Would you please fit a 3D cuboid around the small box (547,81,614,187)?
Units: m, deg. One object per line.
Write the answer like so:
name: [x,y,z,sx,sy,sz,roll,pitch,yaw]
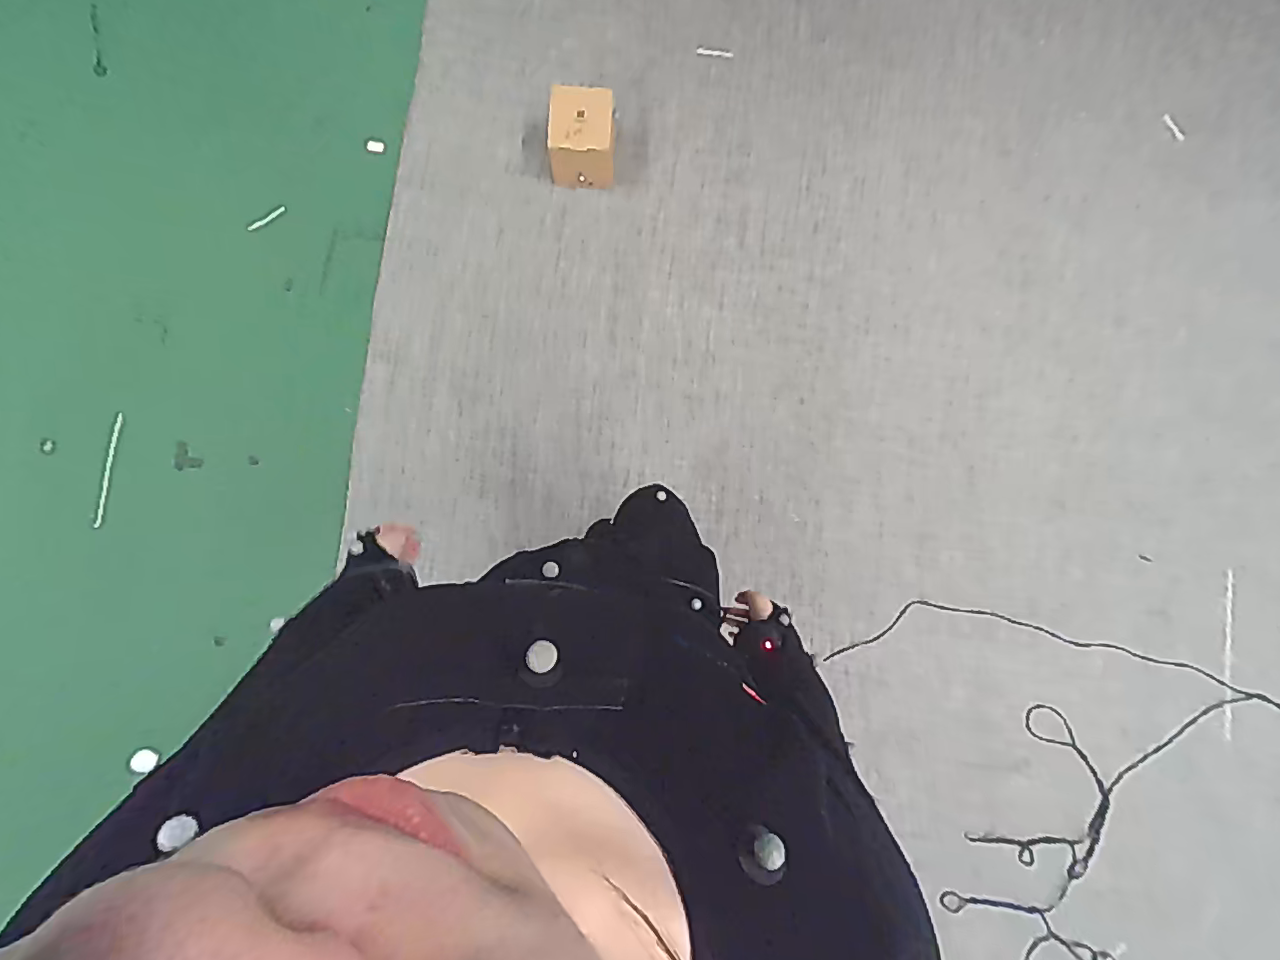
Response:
small box: [-0.159,-0.947,1.490,0.168,0.176,0.179,3,86,-1]
